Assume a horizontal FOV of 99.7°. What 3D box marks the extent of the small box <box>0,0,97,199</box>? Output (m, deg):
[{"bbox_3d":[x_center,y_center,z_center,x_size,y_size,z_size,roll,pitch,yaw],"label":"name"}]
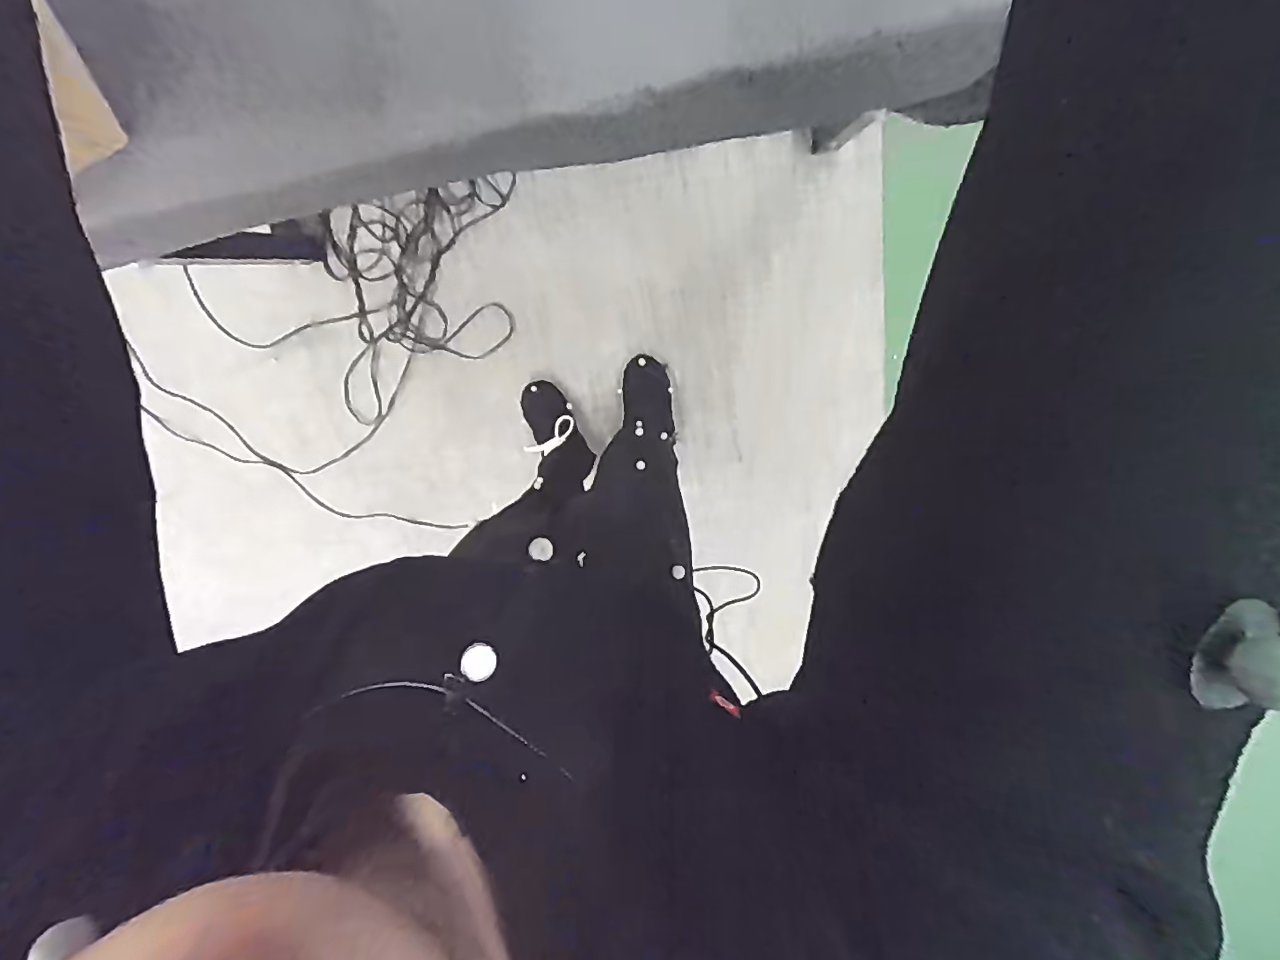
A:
[{"bbox_3d":[-0.567,-0.321,0.390,0.179,0.176,0.168,-19,108,10],"label":"small box"}]
